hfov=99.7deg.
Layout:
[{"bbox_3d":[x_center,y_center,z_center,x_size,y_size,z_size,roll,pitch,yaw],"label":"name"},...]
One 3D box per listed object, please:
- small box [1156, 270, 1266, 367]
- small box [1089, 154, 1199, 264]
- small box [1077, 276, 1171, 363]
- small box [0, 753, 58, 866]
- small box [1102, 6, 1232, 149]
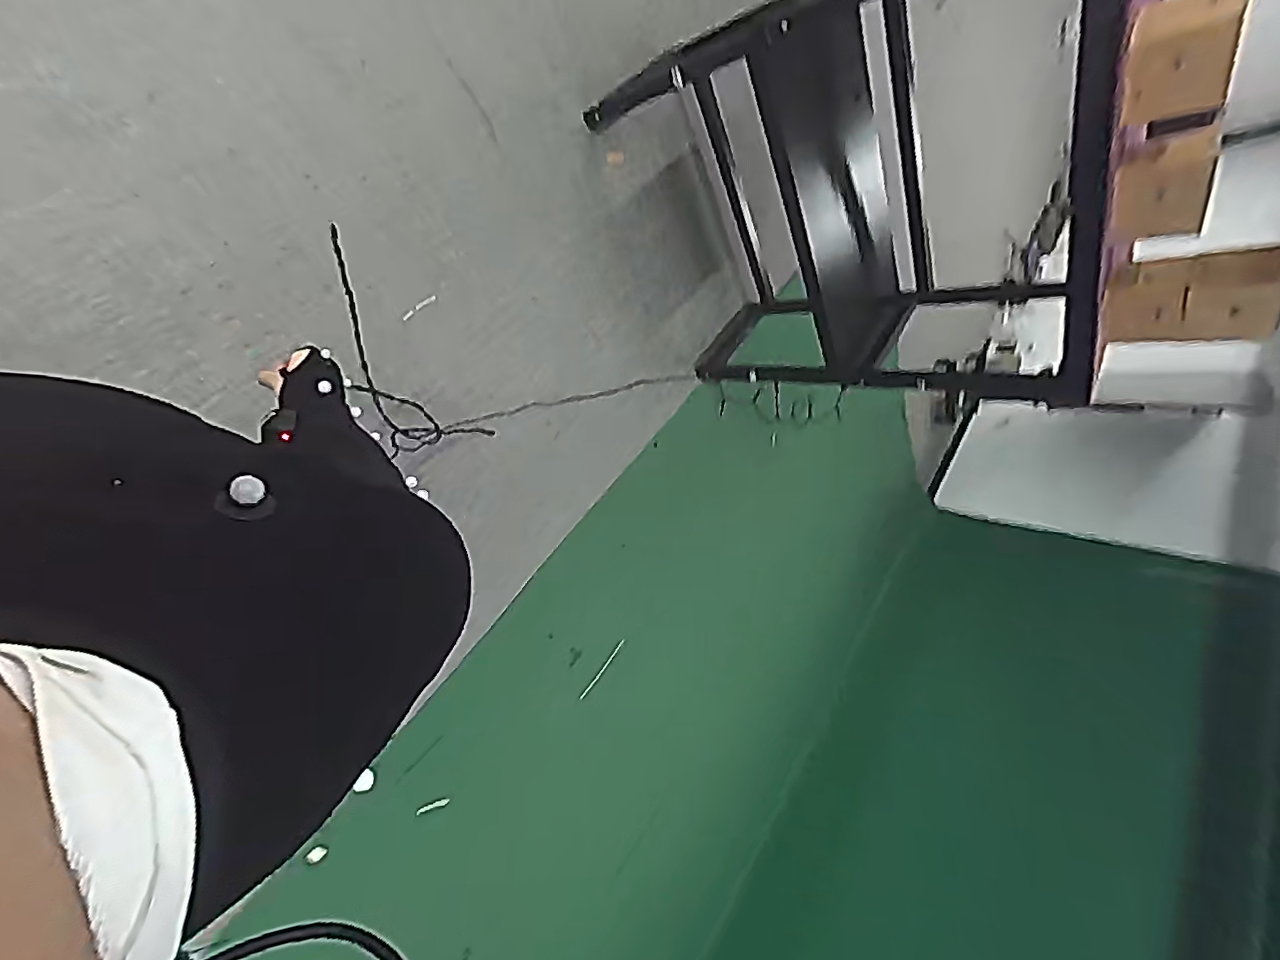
[{"bbox_3d":[1.448,-0.411,1.383,0.168,0.176,0.179,-53,131,-24],"label":"small box"},{"bbox_3d":[1.205,-0.643,1.301,0.168,0.176,0.179,-50,131,-27],"label":"small box"},{"bbox_3d":[1.331,-0.437,1.494,0.168,0.176,0.179,-48,131,-29],"label":"small box"},{"bbox_3d":[-1.339,0.674,1.082,0.179,0.176,0.168,-50,132,-25],"label":"small box"},{"bbox_3d":[1.101,-0.835,1.139,0.179,0.176,0.168,-56,134,-23],"label":"small box"}]
